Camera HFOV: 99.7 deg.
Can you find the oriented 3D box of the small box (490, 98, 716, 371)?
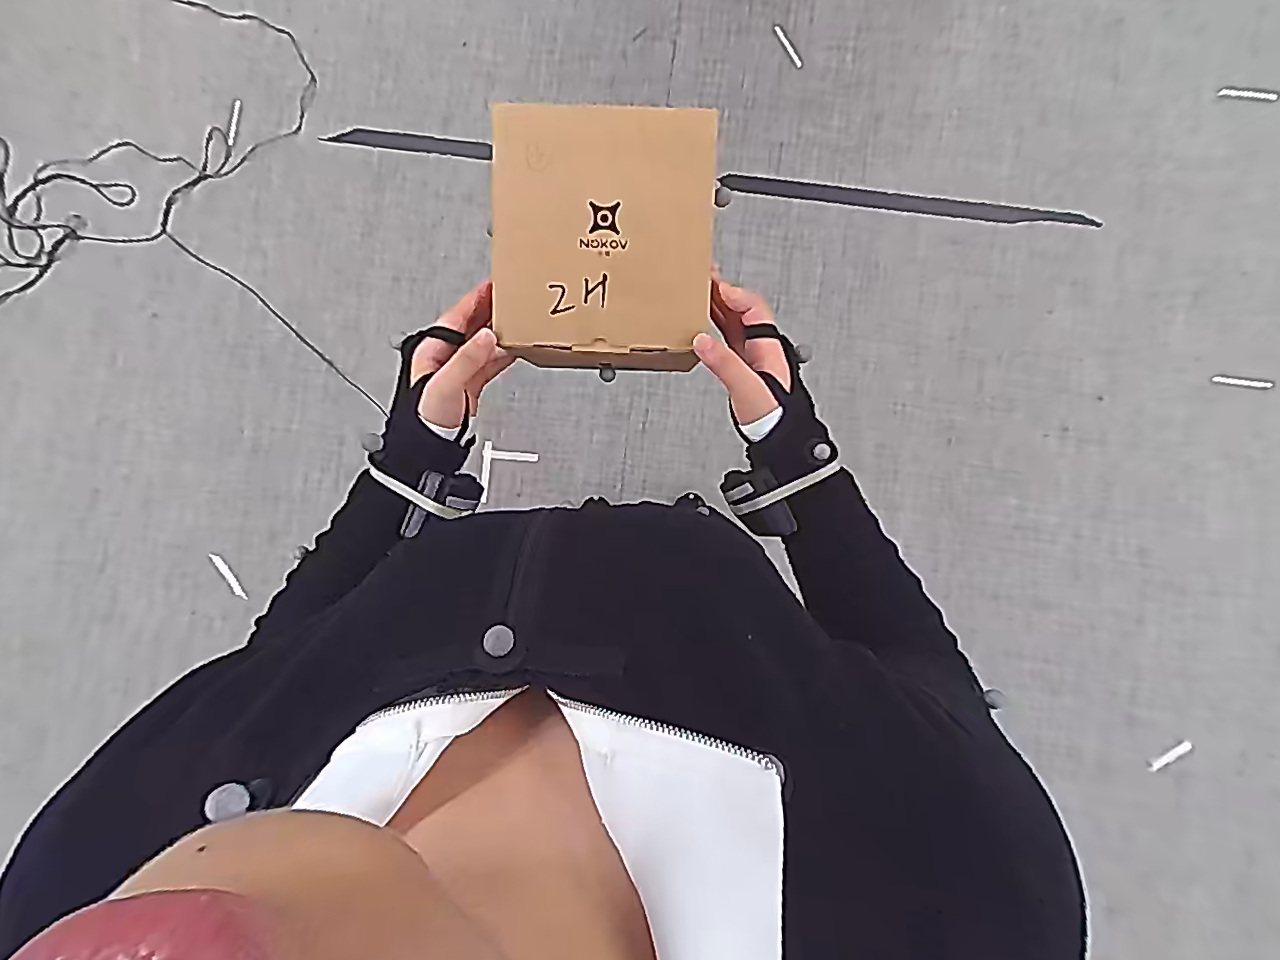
[{"bbox_3d":[-0.028,-0.198,0.484,0.168,0.176,0.179,2,96,1],"label":"small box"}]

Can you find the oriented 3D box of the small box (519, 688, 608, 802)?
[{"bbox_3d":[-0.177,0.629,1.302,0.168,0.176,0.179,11,88,2],"label":"small box"}]
